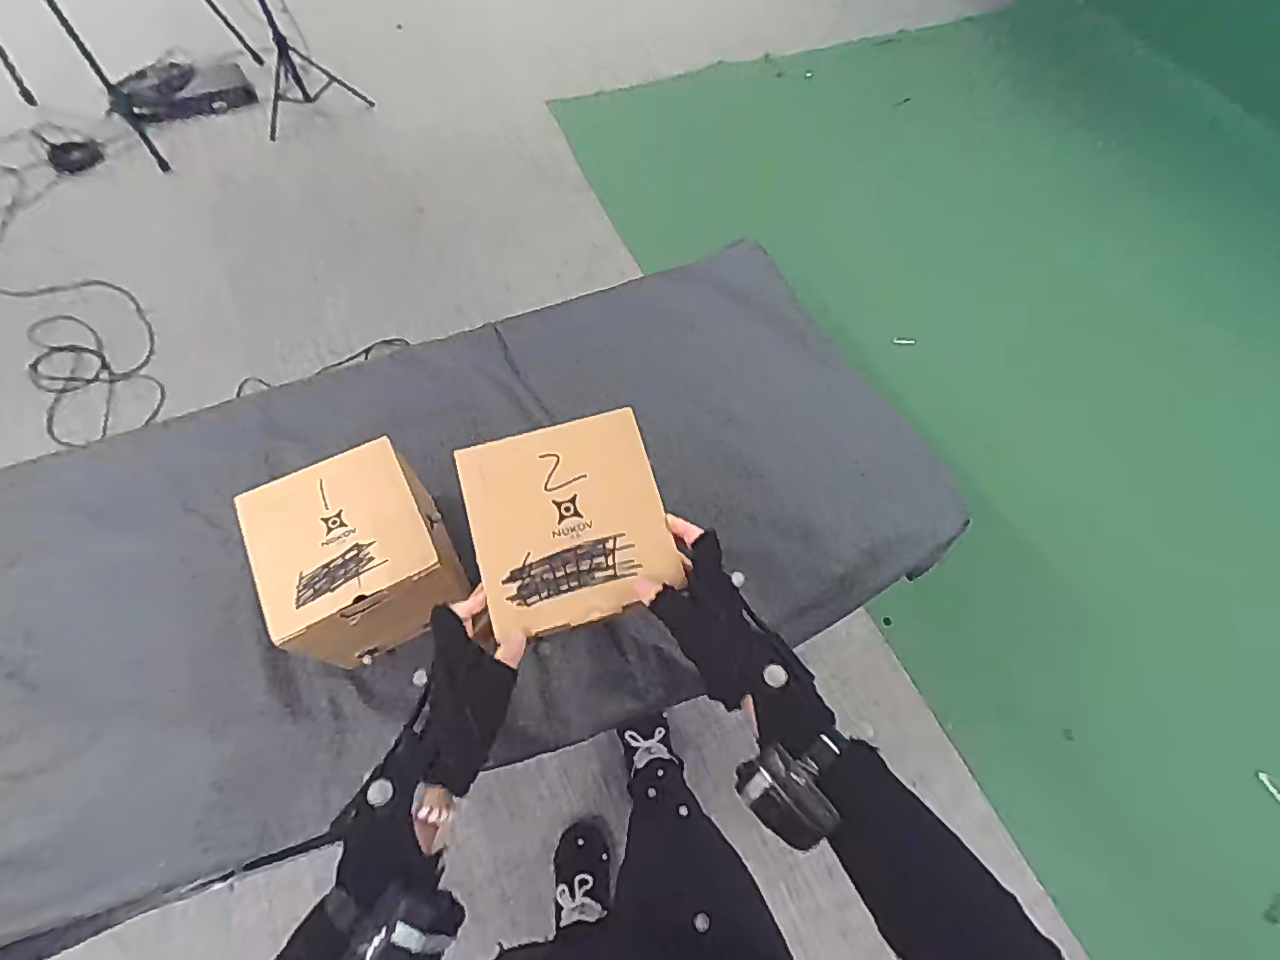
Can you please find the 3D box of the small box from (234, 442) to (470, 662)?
[{"bbox_3d":[-0.317,0.093,0.626,0.168,0.176,0.179,-26,67,-15],"label":"small box"}]
